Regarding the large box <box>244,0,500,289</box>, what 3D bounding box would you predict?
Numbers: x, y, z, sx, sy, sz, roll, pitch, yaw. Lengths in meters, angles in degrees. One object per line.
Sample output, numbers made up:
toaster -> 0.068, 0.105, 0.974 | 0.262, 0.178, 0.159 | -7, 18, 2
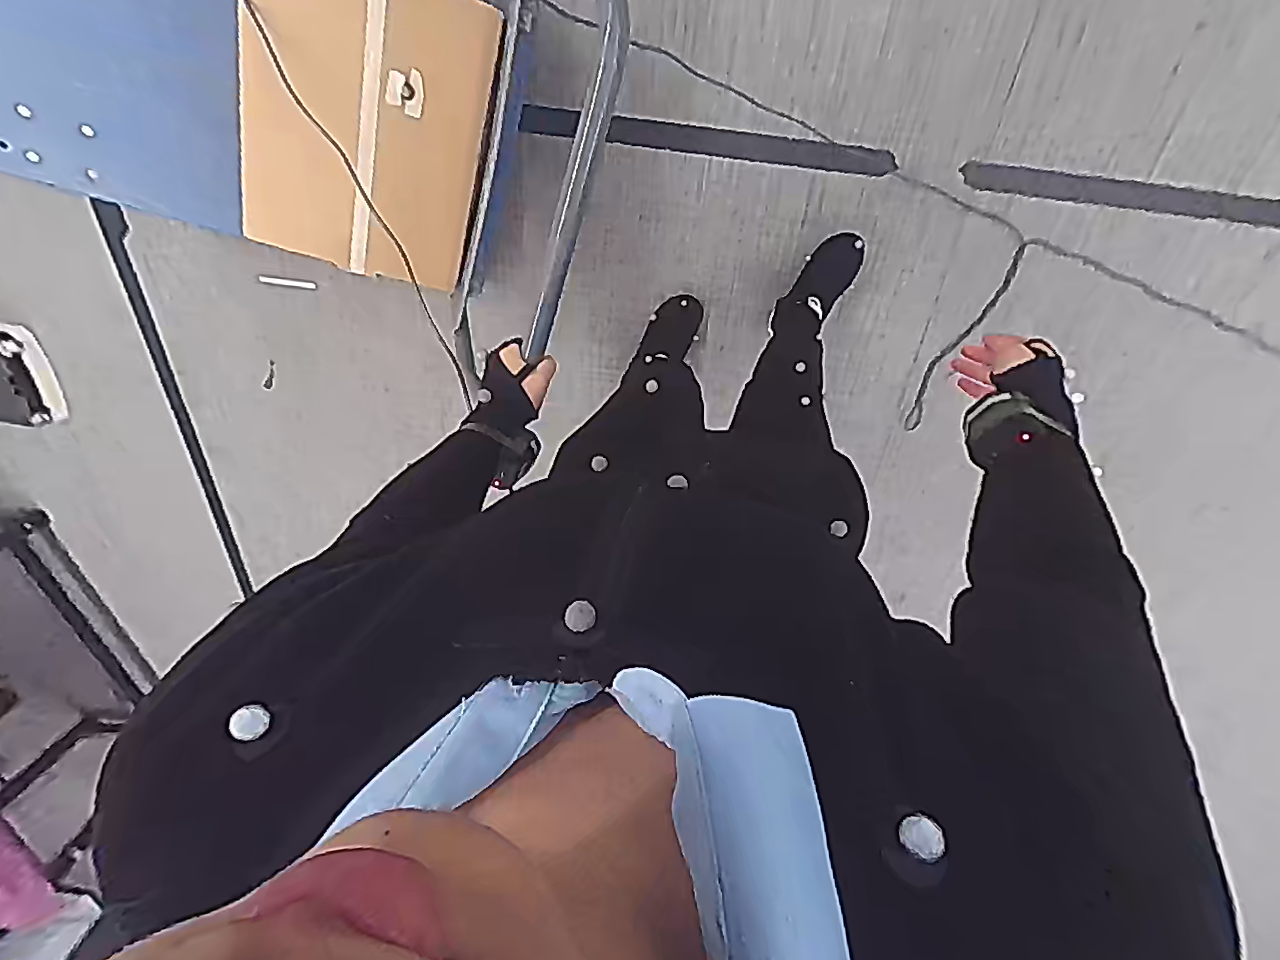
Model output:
large box -> -0.432, -0.595, 0.912 | 0.320, 0.320, 0.408 | 8, 122, -23
